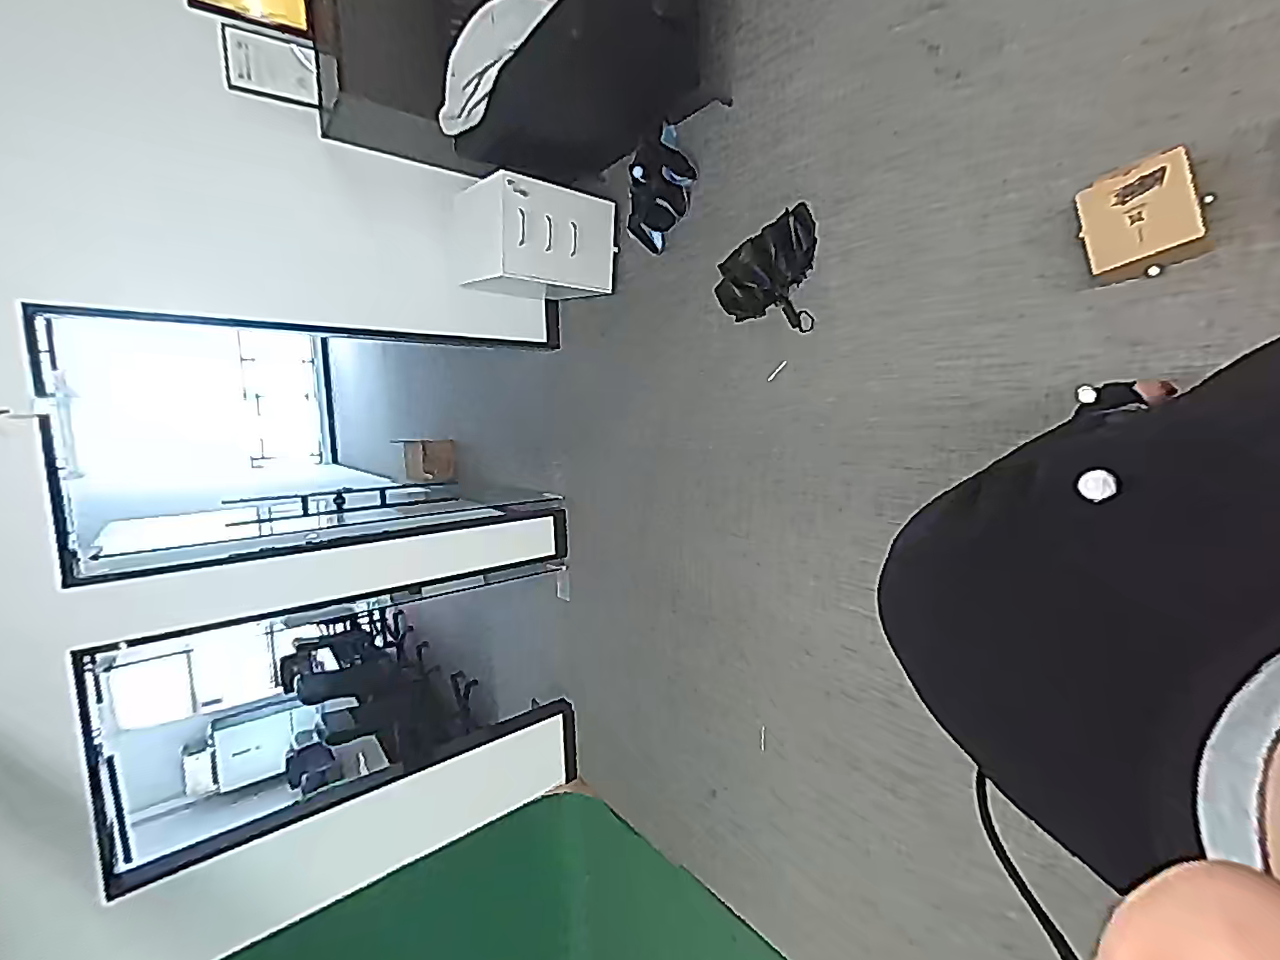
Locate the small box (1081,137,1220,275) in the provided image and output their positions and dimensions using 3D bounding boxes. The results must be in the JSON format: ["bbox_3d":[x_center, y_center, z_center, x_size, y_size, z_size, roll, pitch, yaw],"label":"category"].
[{"bbox_3d":[1.023,-0.535,1.085,0.168,0.176,0.179,-14,85,52],"label":"small box"}]
